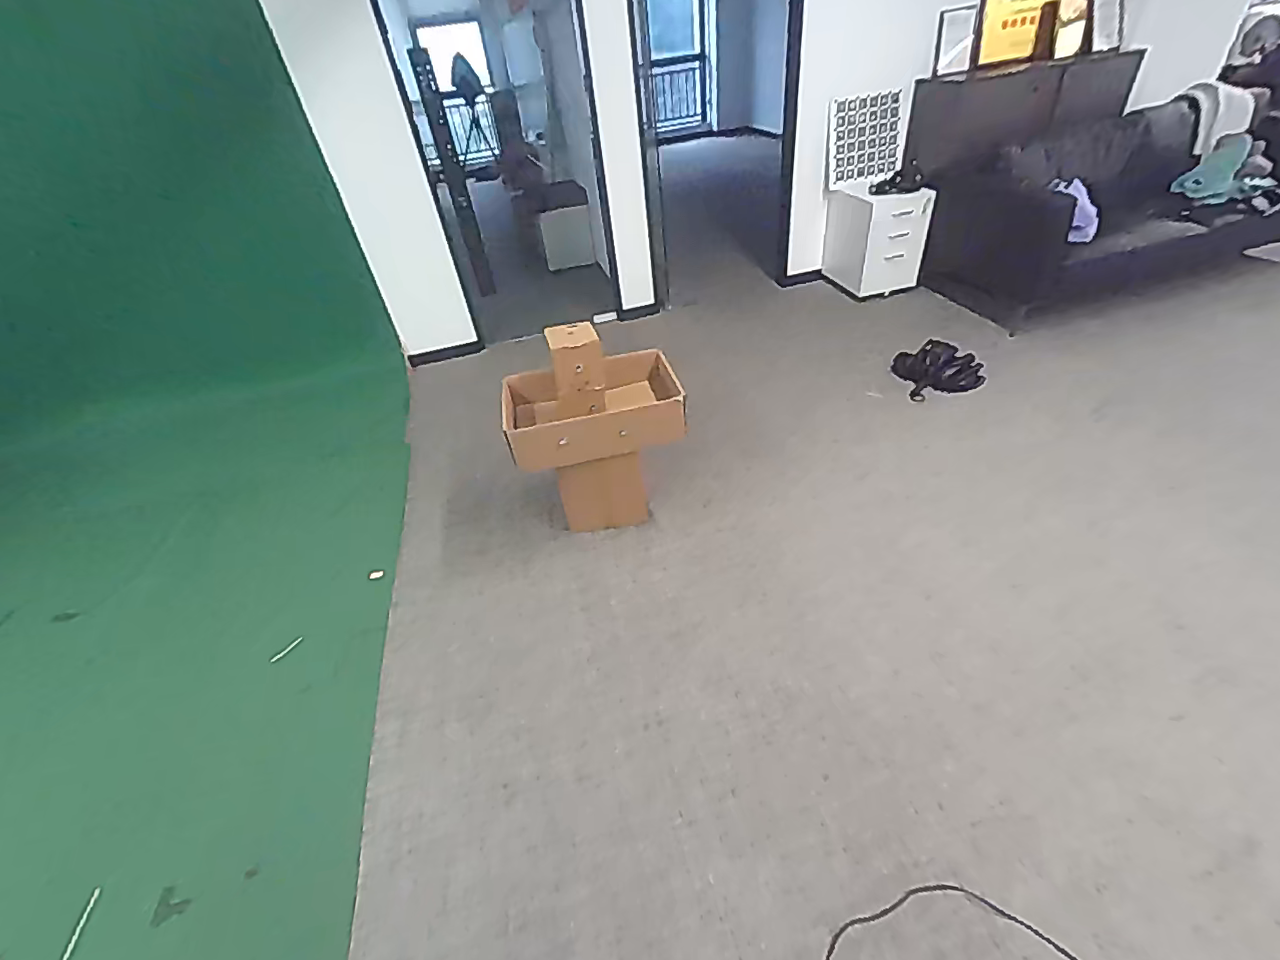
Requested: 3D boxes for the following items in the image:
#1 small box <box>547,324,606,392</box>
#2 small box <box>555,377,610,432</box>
[{"bbox_3d":[-0.220,-0.419,1.882,0.168,0.176,0.179,-12,39,-9],"label":"small box"},{"bbox_3d":[-0.210,-0.286,1.978,0.168,0.176,0.179,-10,37,-8],"label":"small box"}]
